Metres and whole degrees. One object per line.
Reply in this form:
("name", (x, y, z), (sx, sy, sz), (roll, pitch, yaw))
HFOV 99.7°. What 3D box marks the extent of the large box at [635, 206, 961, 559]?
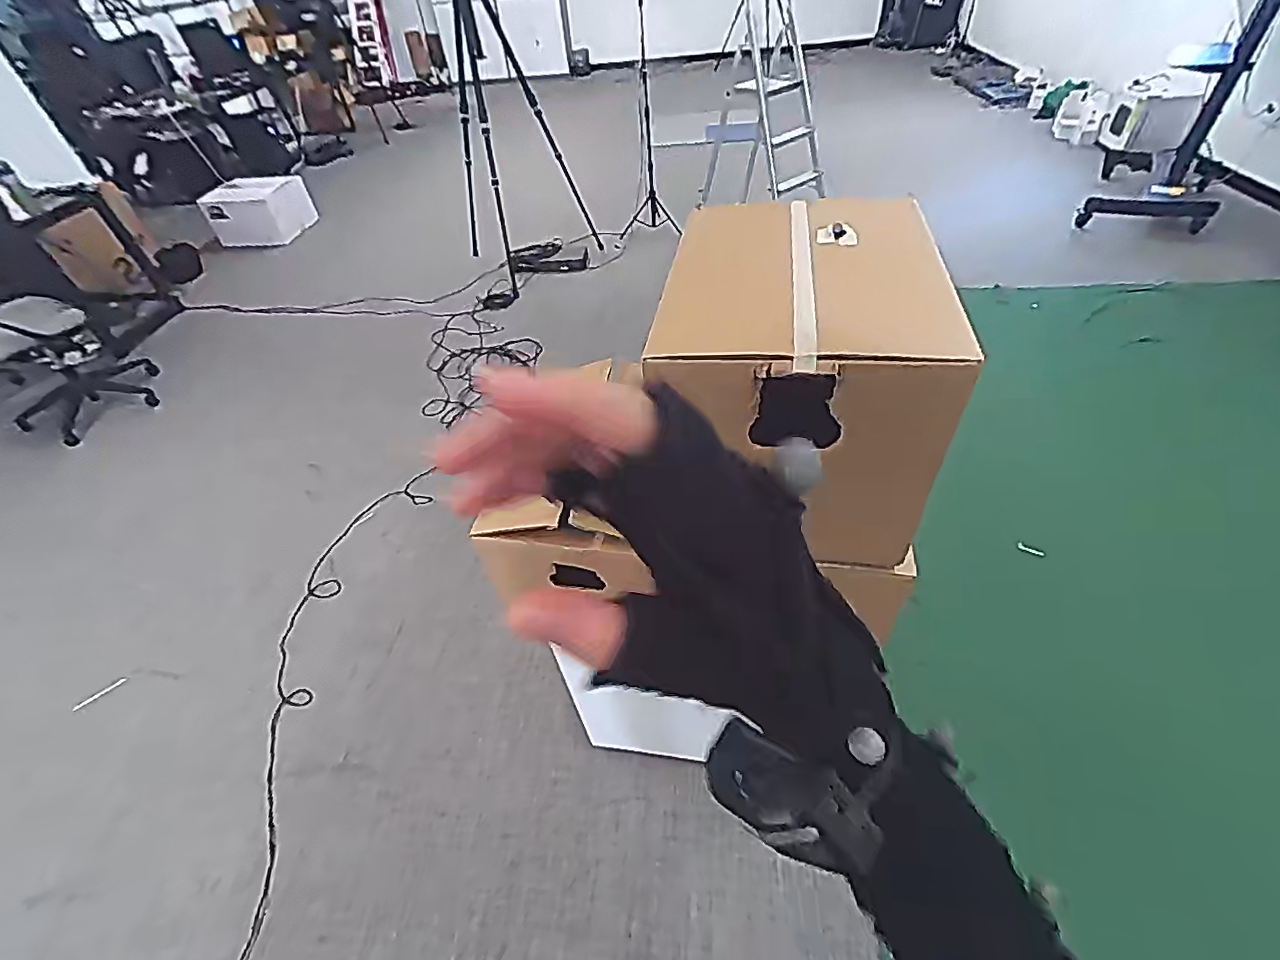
("large box", (0.192, -0.142, 0.753), (0.320, 0.320, 0.408), (3, 45, 12))
